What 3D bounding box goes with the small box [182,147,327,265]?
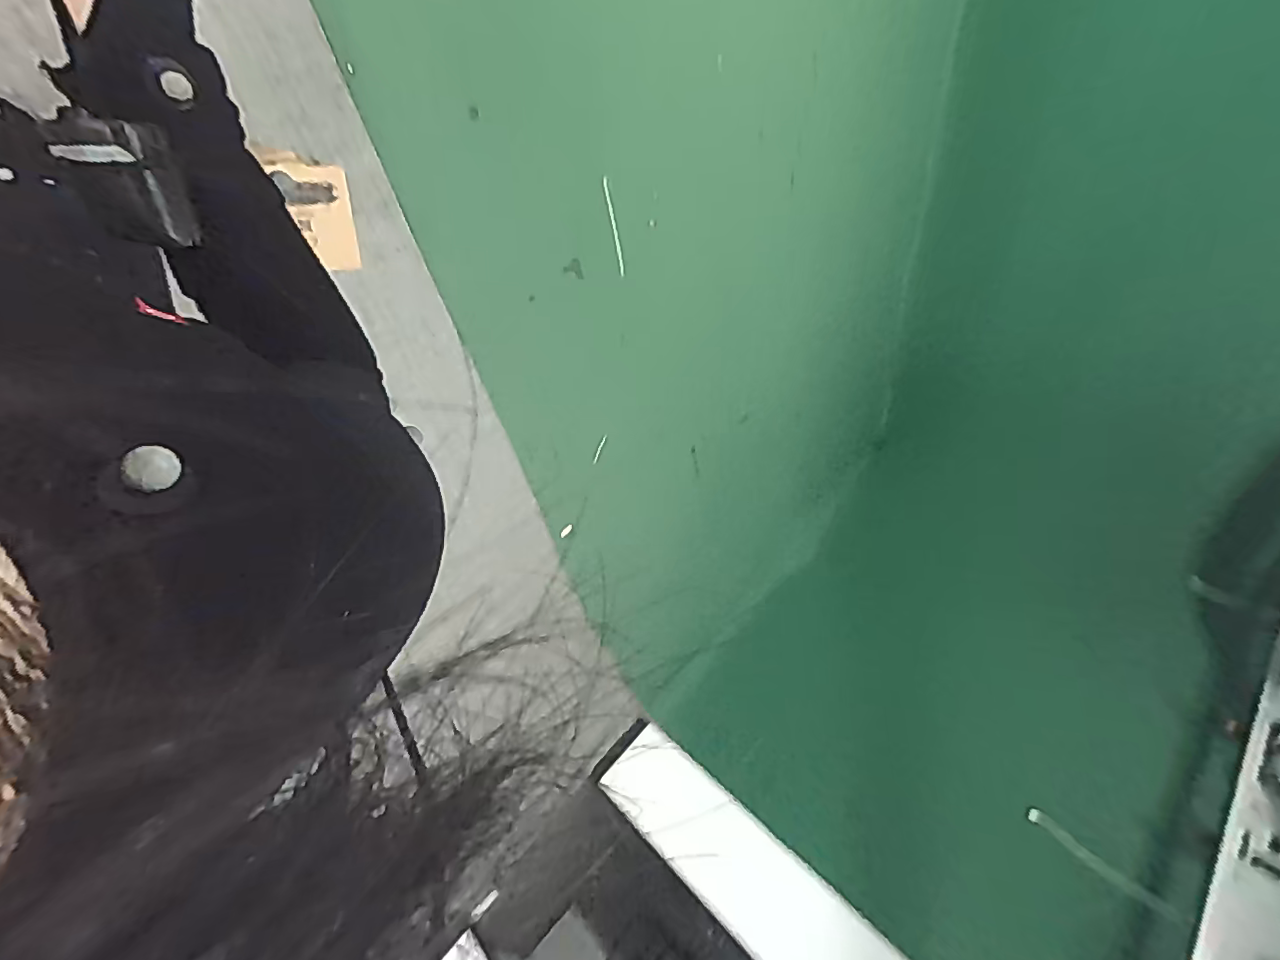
[{"bbox_3d":[-0.770,-0.554,1.085,0.168,0.176,0.179,-32,136,-32],"label":"small box"}]
